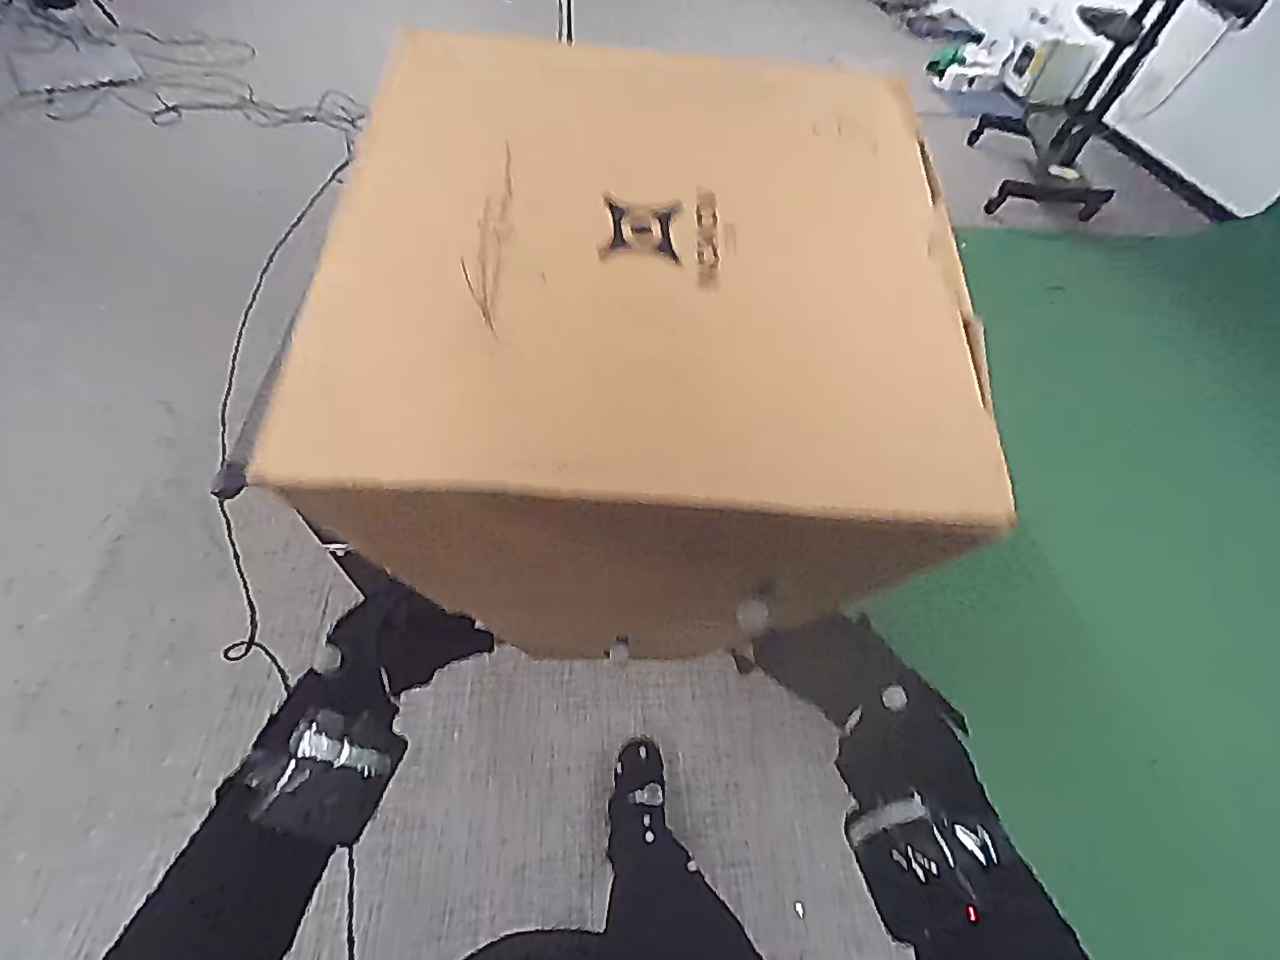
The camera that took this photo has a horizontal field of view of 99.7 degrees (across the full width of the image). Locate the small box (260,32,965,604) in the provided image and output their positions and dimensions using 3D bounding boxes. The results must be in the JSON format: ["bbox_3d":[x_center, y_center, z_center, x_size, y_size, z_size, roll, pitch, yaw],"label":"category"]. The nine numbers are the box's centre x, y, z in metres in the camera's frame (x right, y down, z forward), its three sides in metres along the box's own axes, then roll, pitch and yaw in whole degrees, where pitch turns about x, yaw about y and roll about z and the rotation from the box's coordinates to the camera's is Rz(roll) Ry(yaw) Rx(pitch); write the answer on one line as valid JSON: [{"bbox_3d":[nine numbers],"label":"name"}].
[{"bbox_3d":[-0.006,-0.044,0.235,0.179,0.176,0.168,2,67,-2],"label":"small box"}]

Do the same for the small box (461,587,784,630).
[{"bbox_3d":[-0.014,0.015,0.389,0.179,0.176,0.168,0,69,-4],"label":"small box"}]
